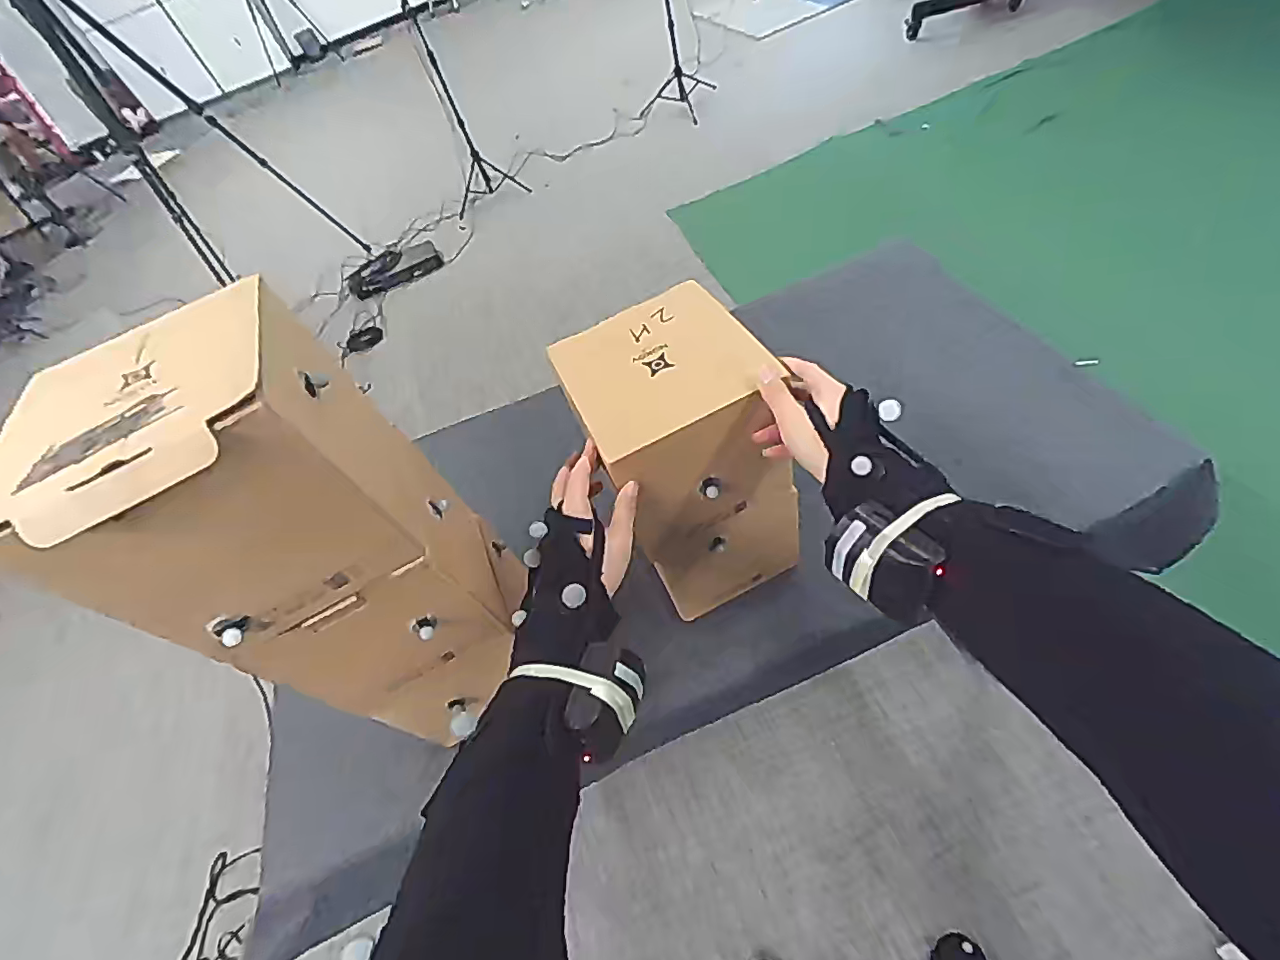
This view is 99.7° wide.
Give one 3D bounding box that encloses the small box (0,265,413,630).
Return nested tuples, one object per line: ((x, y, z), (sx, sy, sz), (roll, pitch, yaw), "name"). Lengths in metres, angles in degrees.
((-0.290, -0.015, 0.392), (0.168, 0.176, 0.179), (-29, 51, -8), "small box")

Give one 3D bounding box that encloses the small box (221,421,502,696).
((-0.253, 0.083, 0.519), (0.168, 0.176, 0.179), (-28, 50, -7), "small box")

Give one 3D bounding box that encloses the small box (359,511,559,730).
((-0.216, 0.176, 0.647), (0.168, 0.176, 0.179), (-28, 51, -5), "small box")

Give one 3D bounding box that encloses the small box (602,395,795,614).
((0.073, 0.033, 0.670), (0.168, 0.176, 0.179), (-26, 51, -4), "small box")
